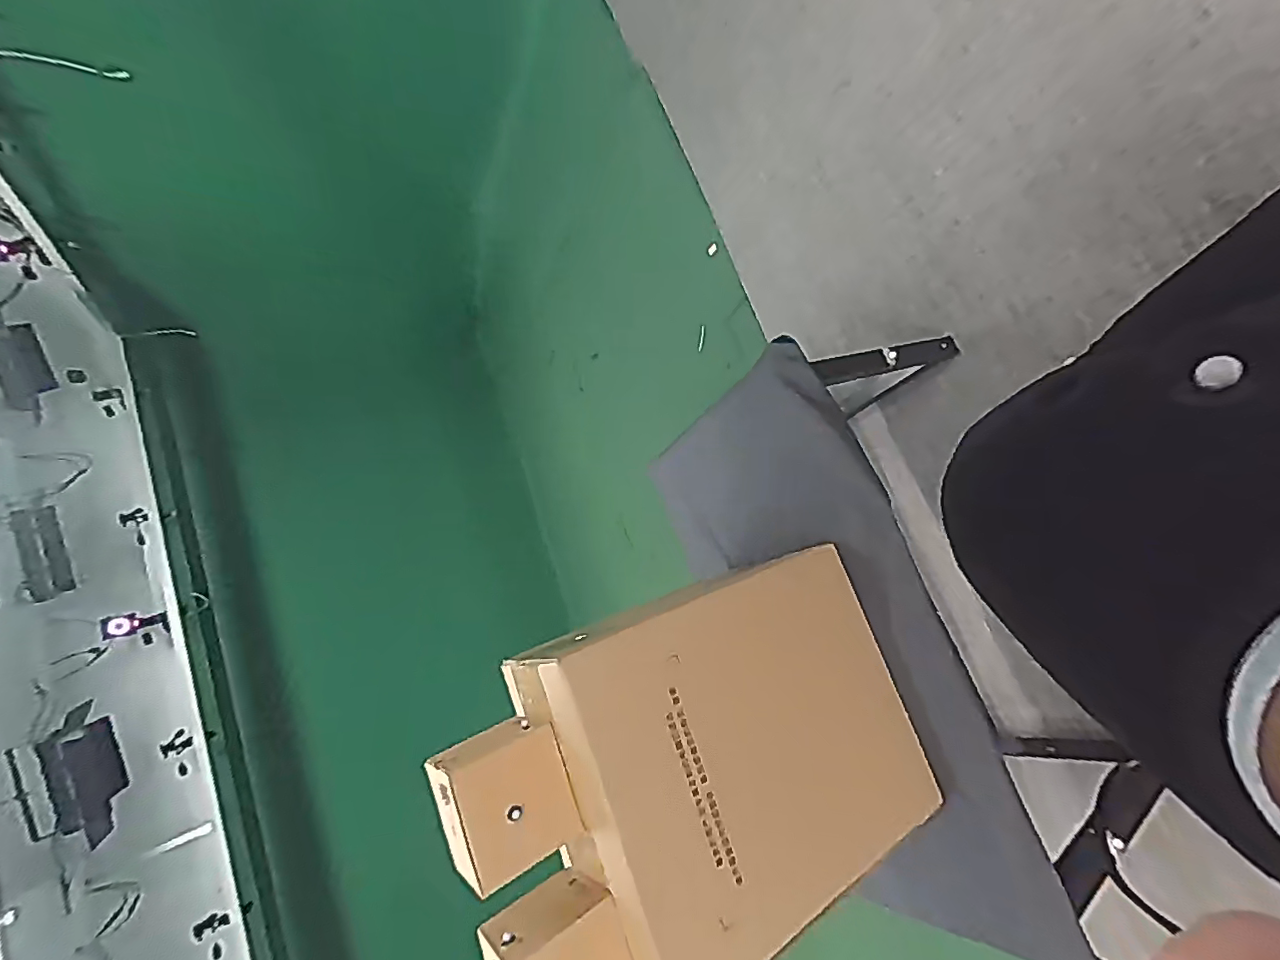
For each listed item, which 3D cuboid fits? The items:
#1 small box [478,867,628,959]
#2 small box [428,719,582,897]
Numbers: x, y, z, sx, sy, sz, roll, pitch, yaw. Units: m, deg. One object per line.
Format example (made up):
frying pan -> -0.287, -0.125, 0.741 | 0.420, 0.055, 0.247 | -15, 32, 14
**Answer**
small box -> -0.118, 0.737, 0.811 | 0.168, 0.176, 0.179 | -33, 75, 54
small box -> -0.218, 0.507, 0.870 | 0.168, 0.176, 0.179 | -31, 76, 54
